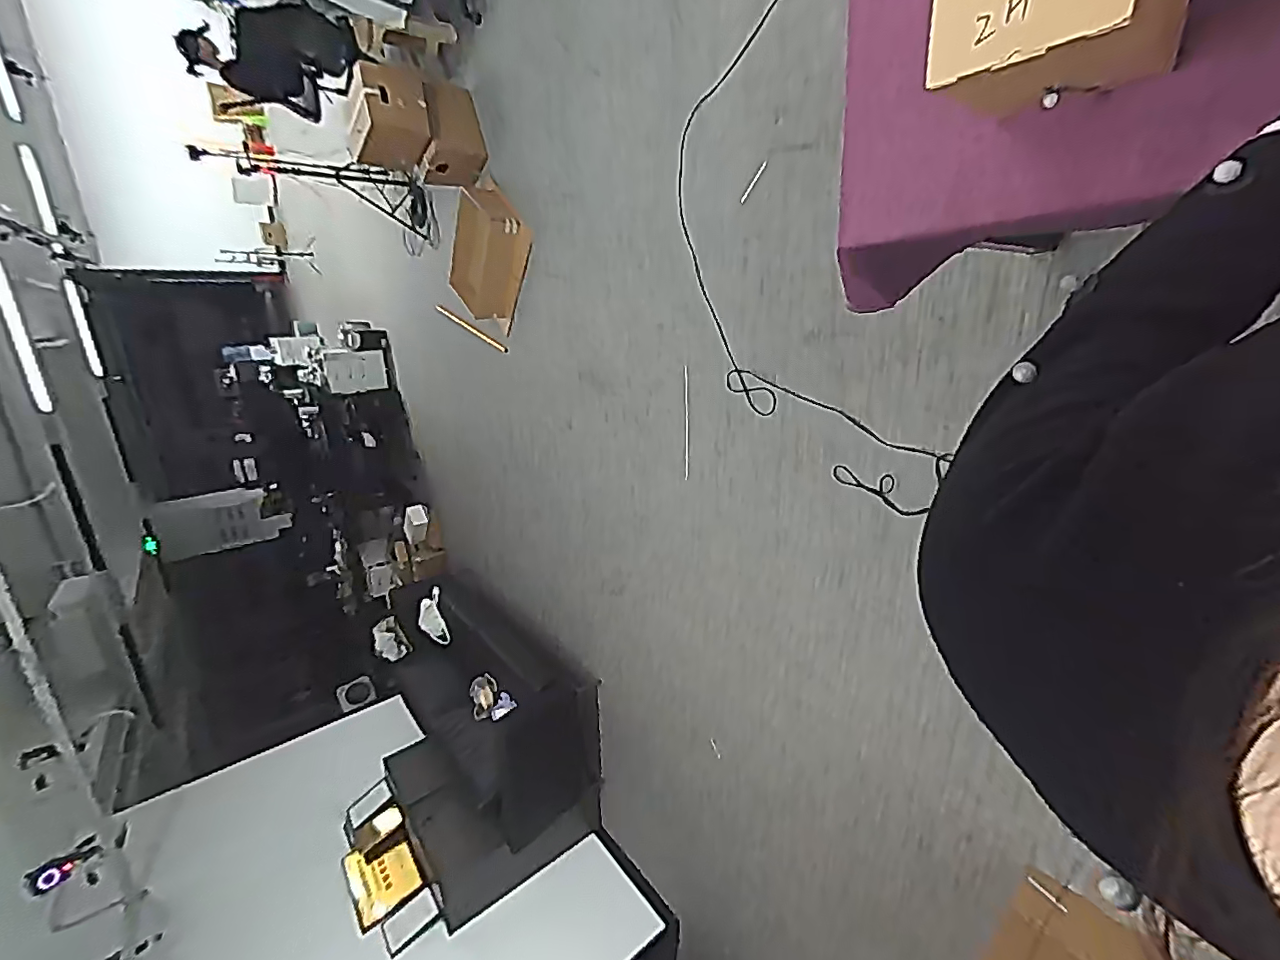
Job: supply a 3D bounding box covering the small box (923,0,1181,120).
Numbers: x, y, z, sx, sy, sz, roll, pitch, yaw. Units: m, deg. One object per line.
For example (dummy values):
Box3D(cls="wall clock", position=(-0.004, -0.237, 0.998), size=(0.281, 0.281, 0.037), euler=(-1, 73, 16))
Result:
Box3D(cls="small box", position=(0.407, -0.485, 0.525), size=(0.168, 0.176, 0.179), euler=(18, 116, 49))
